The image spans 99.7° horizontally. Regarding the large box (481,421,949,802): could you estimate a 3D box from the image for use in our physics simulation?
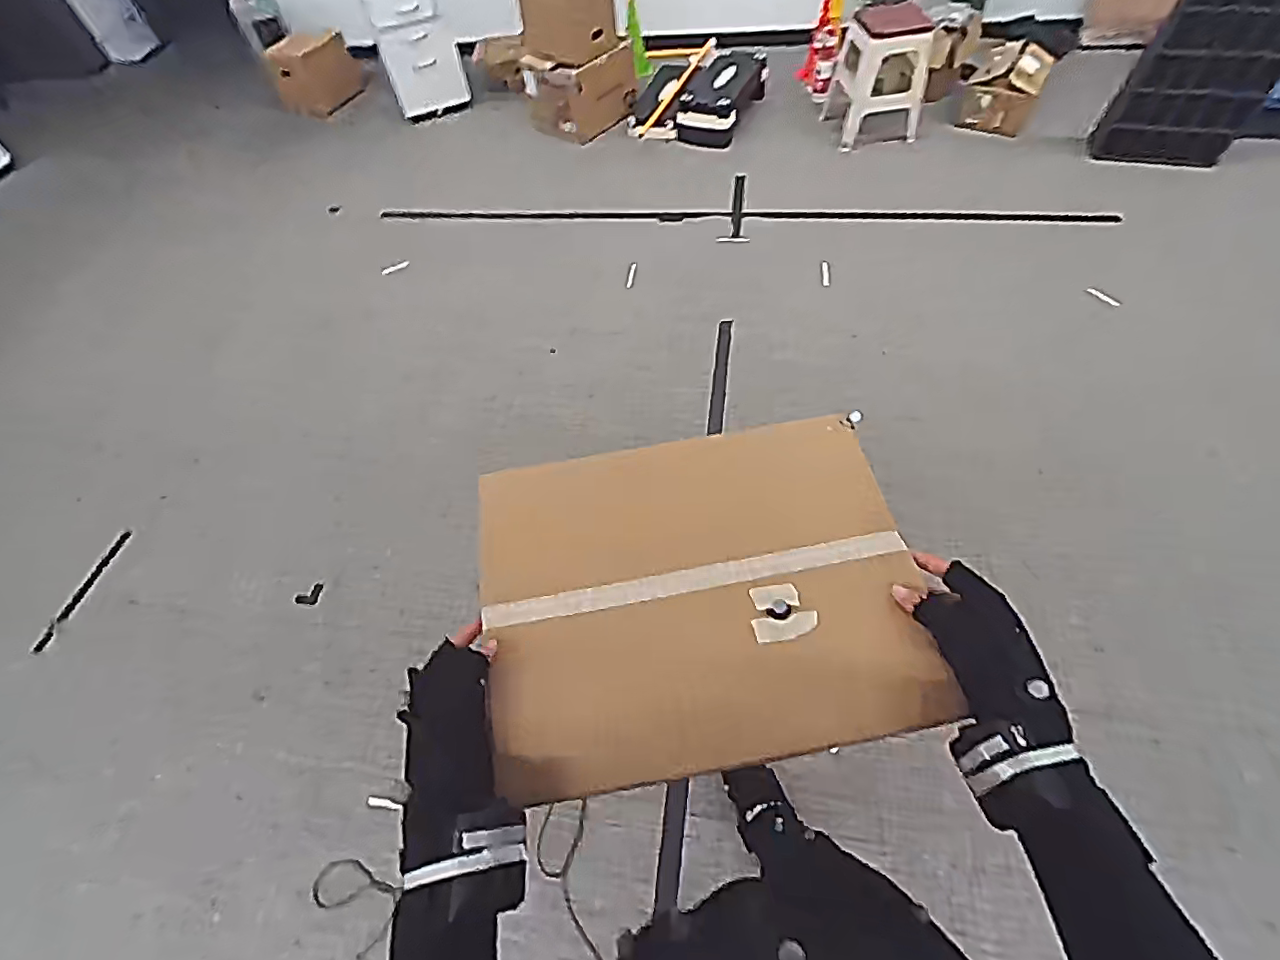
[{"bbox_3d":[0.054,0.173,0.658,0.408,0.320,0.320,-10,61,-3],"label":"large box"}]
